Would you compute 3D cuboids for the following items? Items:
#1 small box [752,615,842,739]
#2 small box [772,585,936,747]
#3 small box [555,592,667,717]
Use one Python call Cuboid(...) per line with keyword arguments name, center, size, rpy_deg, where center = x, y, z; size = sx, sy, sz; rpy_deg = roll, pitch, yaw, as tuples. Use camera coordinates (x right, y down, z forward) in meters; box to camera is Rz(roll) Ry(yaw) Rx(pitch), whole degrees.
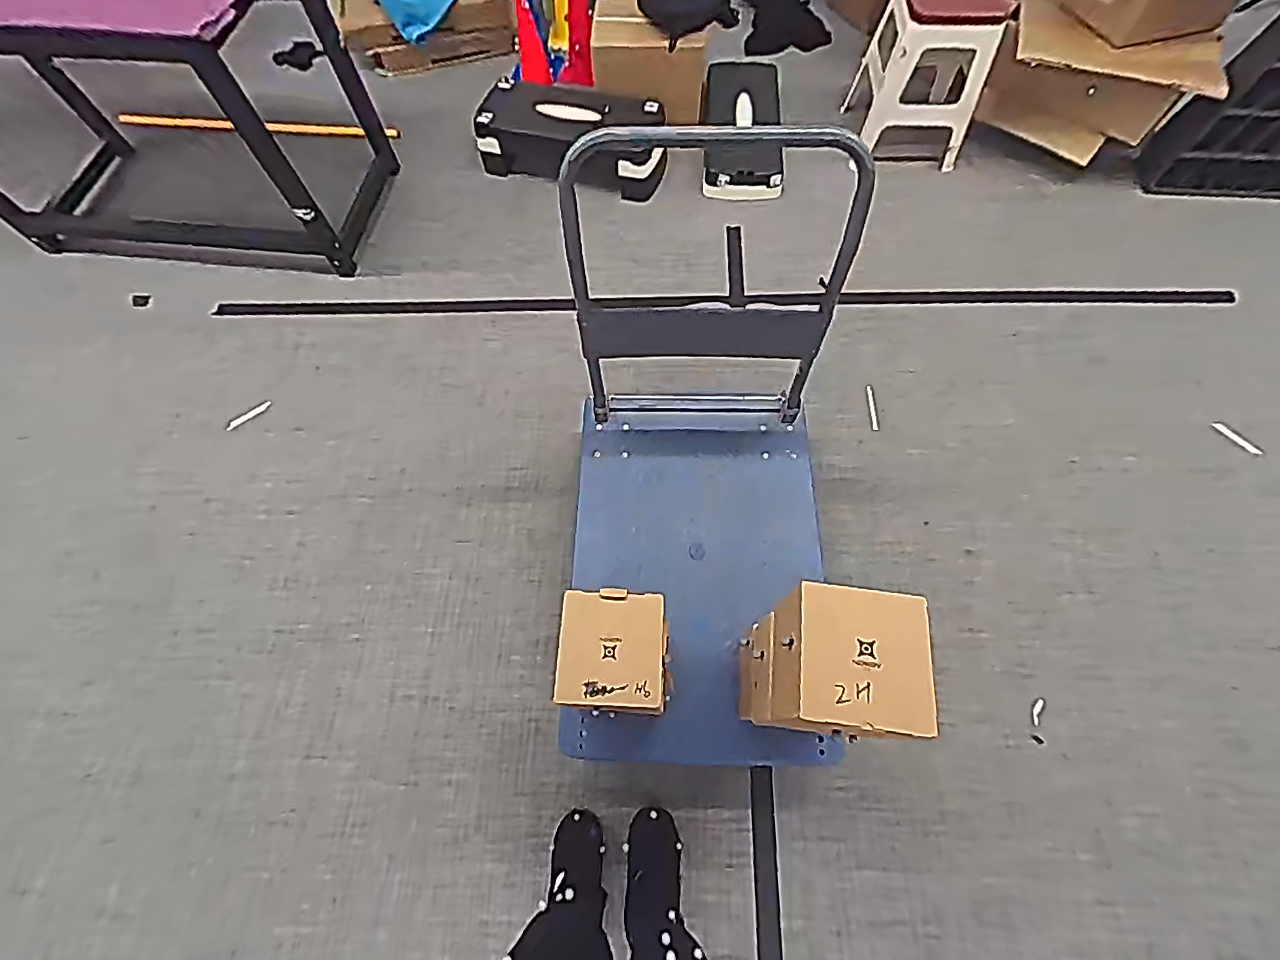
Cuboid(name="small box", center=(0.287, 0.334, 0.904), size=(0.179, 0.176, 0.168), rpy_deg=(6, 66, 3))
Cuboid(name="small box", center=(0.285, 0.262, 0.755), size=(0.168, 0.176, 0.179), rpy_deg=(7, 66, 4))
Cuboid(name="small box", center=(-0.042, 0.302, 0.923), size=(0.168, 0.176, 0.179), rpy_deg=(2, 65, 3))
